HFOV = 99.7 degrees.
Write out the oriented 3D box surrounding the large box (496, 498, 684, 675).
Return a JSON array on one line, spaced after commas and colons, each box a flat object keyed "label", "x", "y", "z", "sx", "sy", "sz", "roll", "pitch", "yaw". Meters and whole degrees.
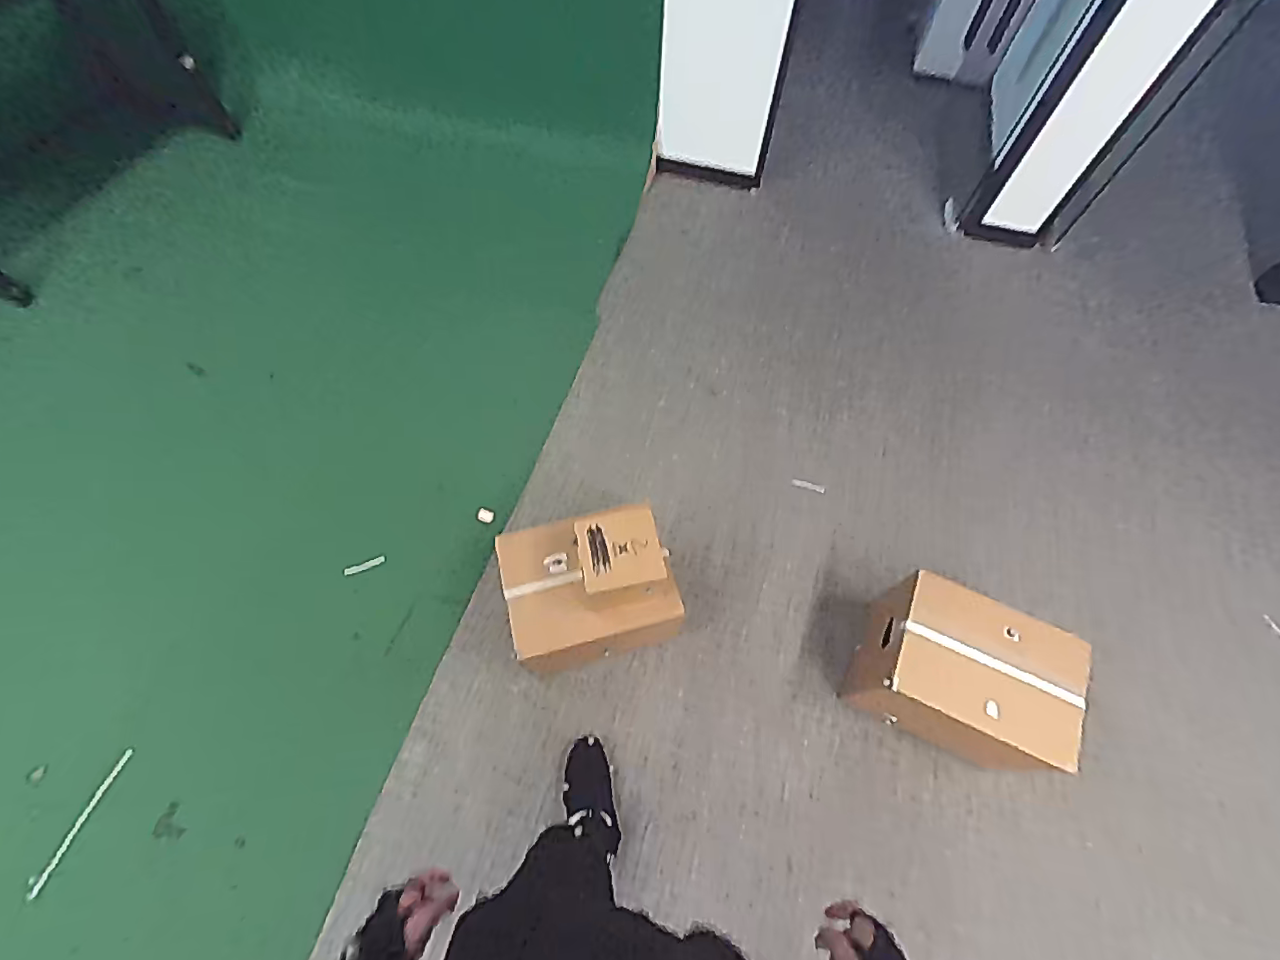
[{"label": "large box", "x": -0.128, "y": 0.292, "z": 1.439, "sx": 0.408, "sy": 0.320, "sz": 0.320, "roll": -15, "pitch": 63, "yaw": -8}]
